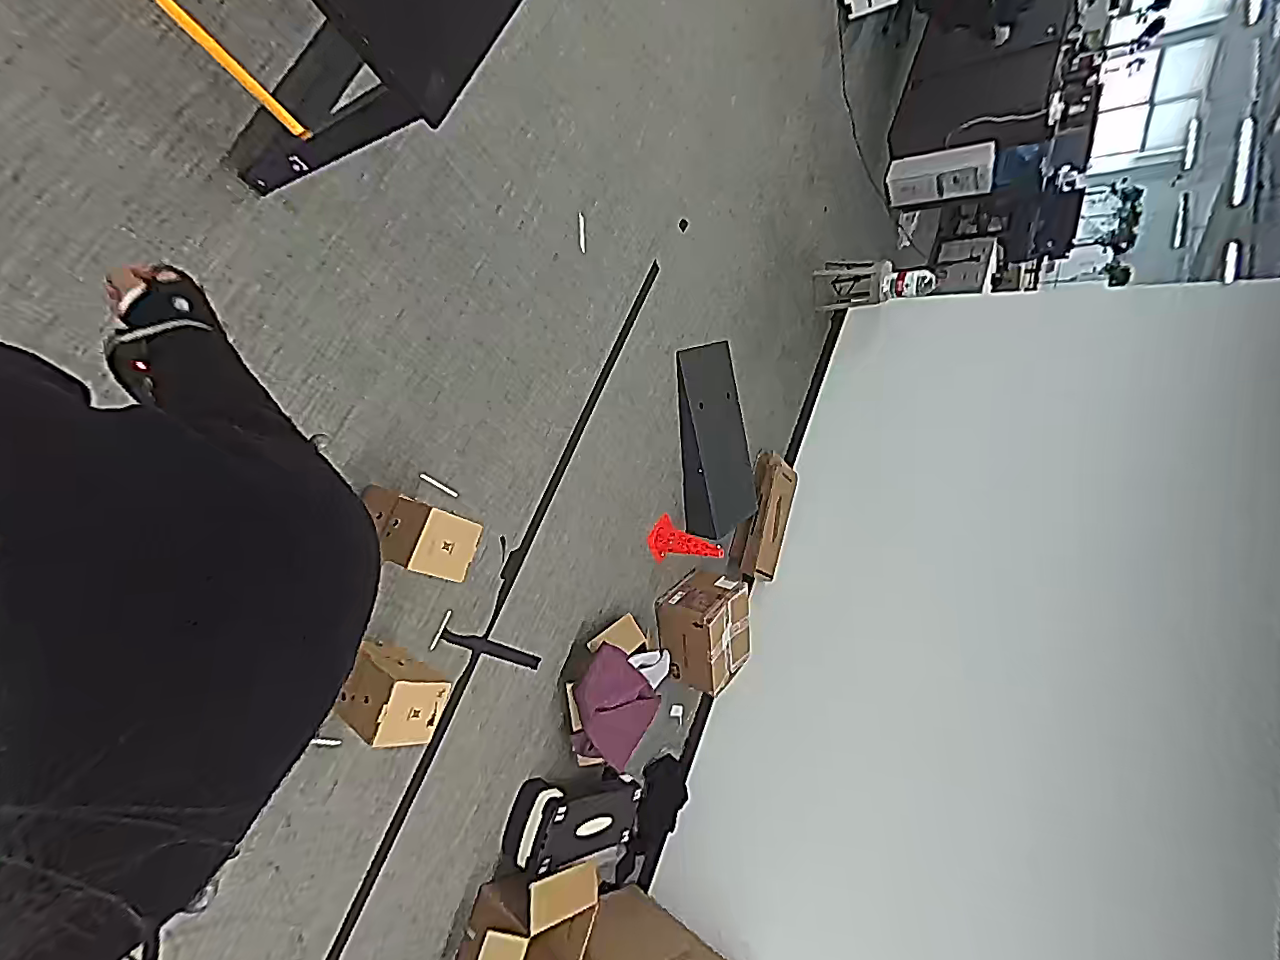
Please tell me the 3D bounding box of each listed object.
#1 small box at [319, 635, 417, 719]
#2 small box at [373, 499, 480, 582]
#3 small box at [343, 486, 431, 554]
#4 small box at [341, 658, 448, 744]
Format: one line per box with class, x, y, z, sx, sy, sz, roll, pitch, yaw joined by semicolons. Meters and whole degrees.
small box;-0.782;0.565;1.545;0.168;0.176;0.179;33;72;-51
small box;-0.571;0.159;1.446;0.179;0.176;0.168;32;71;-50
small box;-0.704;0.130;1.535;0.168;0.176;0.179;38;69;-50
small box;-0.657;0.584;1.441;0.179;0.176;0.168;31;74;-51
